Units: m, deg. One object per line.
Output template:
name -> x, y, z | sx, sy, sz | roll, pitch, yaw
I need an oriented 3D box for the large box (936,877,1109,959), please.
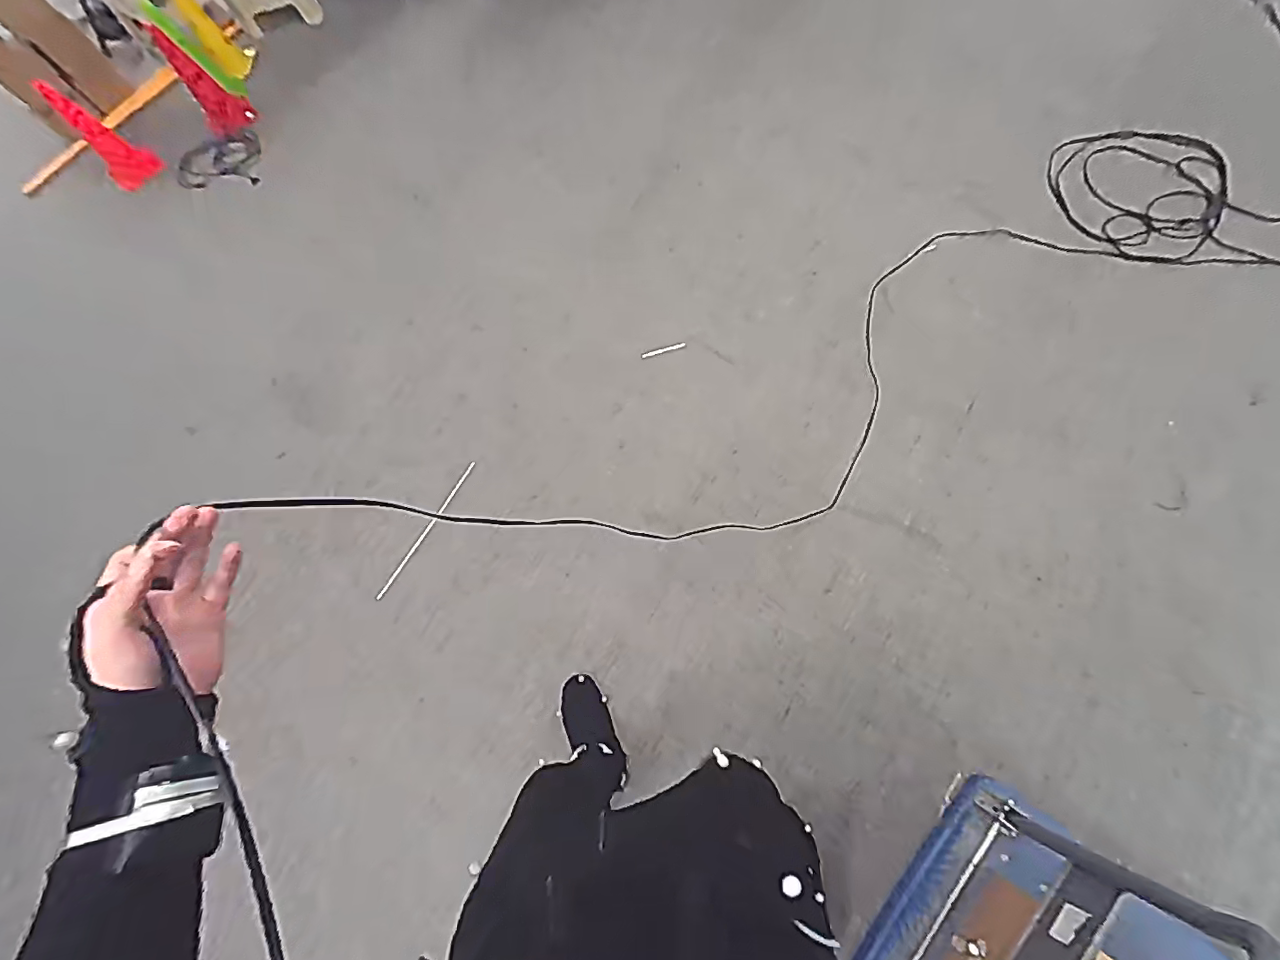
large box -> 0.724, 0.955, 0.847 | 0.408, 0.320, 0.320 | 38, 80, 16
